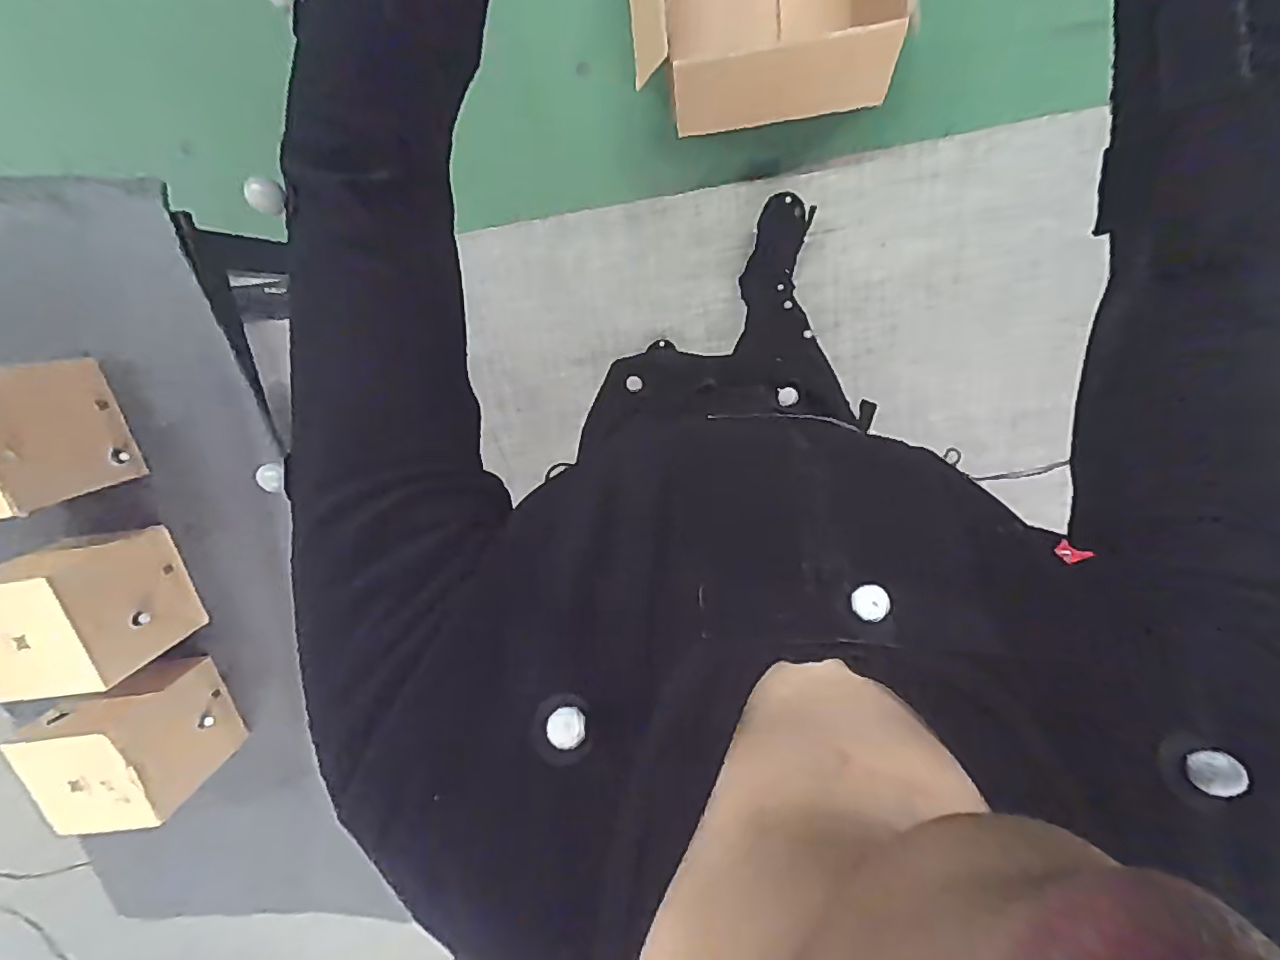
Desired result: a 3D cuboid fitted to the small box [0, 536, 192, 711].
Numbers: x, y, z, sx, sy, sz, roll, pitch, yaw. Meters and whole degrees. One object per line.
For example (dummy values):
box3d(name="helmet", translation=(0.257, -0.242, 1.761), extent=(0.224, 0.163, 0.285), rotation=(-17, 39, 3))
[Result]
box3d(name="small box", translation=(-0.771, 0.188, 0.741), extent=(0.179, 0.176, 0.168), rotation=(-8, 106, 7))

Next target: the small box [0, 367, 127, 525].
box3d(name="small box", translation=(-0.803, -0.040, 0.671), extent=(0.179, 0.176, 0.168), rotation=(-8, 106, 7))

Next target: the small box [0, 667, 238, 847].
box3d(name="small box", translation=(-0.762, 0.403, 0.805), extent=(0.179, 0.176, 0.168), rotation=(-9, 107, 7))
